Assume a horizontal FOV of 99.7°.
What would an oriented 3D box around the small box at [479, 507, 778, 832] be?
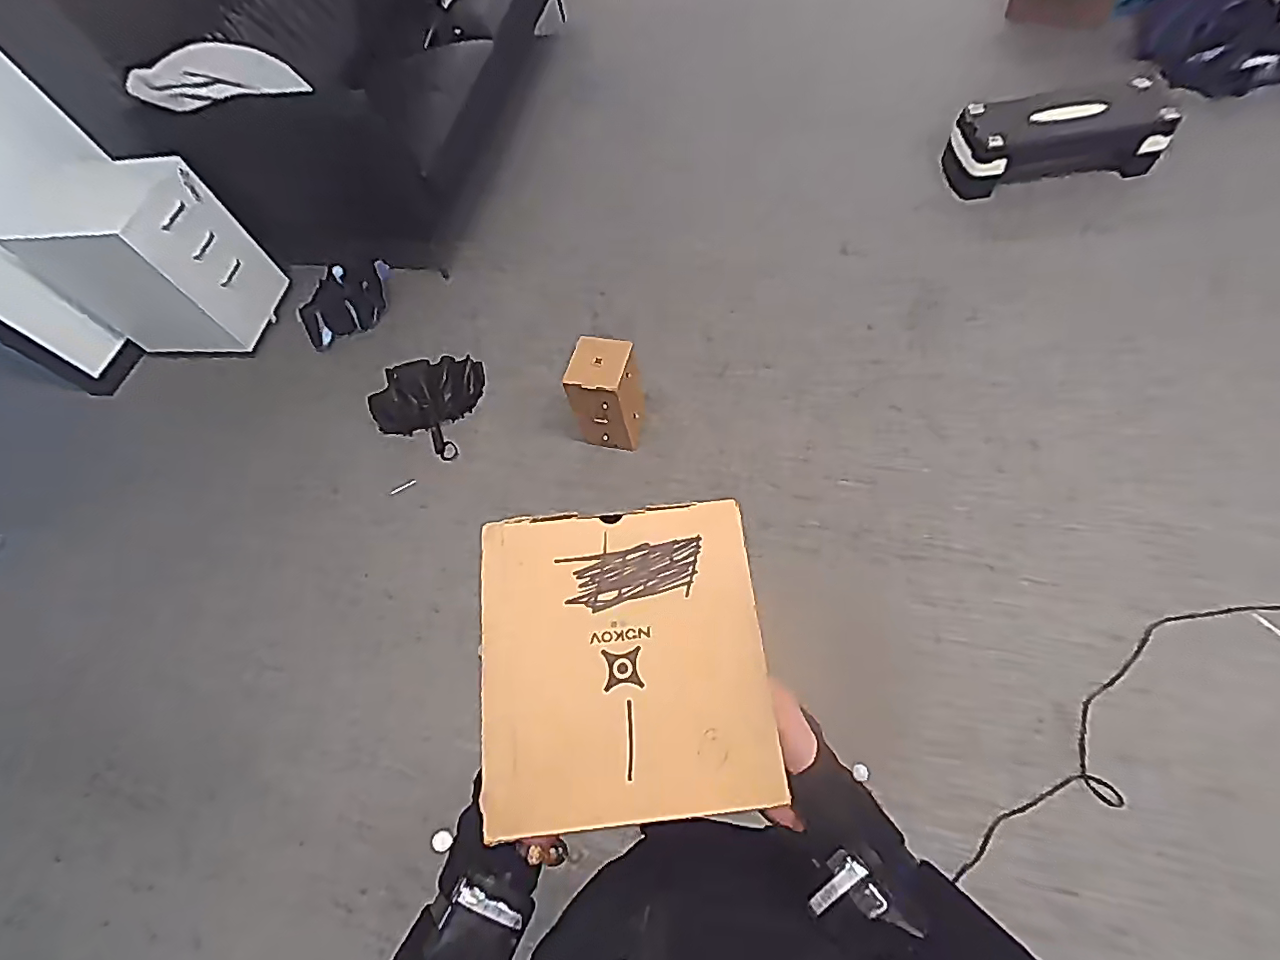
[{"bbox_3d":[-0.013,0.131,0.396,0.168,0.176,0.179,-4,70,-2],"label":"small box"}]
